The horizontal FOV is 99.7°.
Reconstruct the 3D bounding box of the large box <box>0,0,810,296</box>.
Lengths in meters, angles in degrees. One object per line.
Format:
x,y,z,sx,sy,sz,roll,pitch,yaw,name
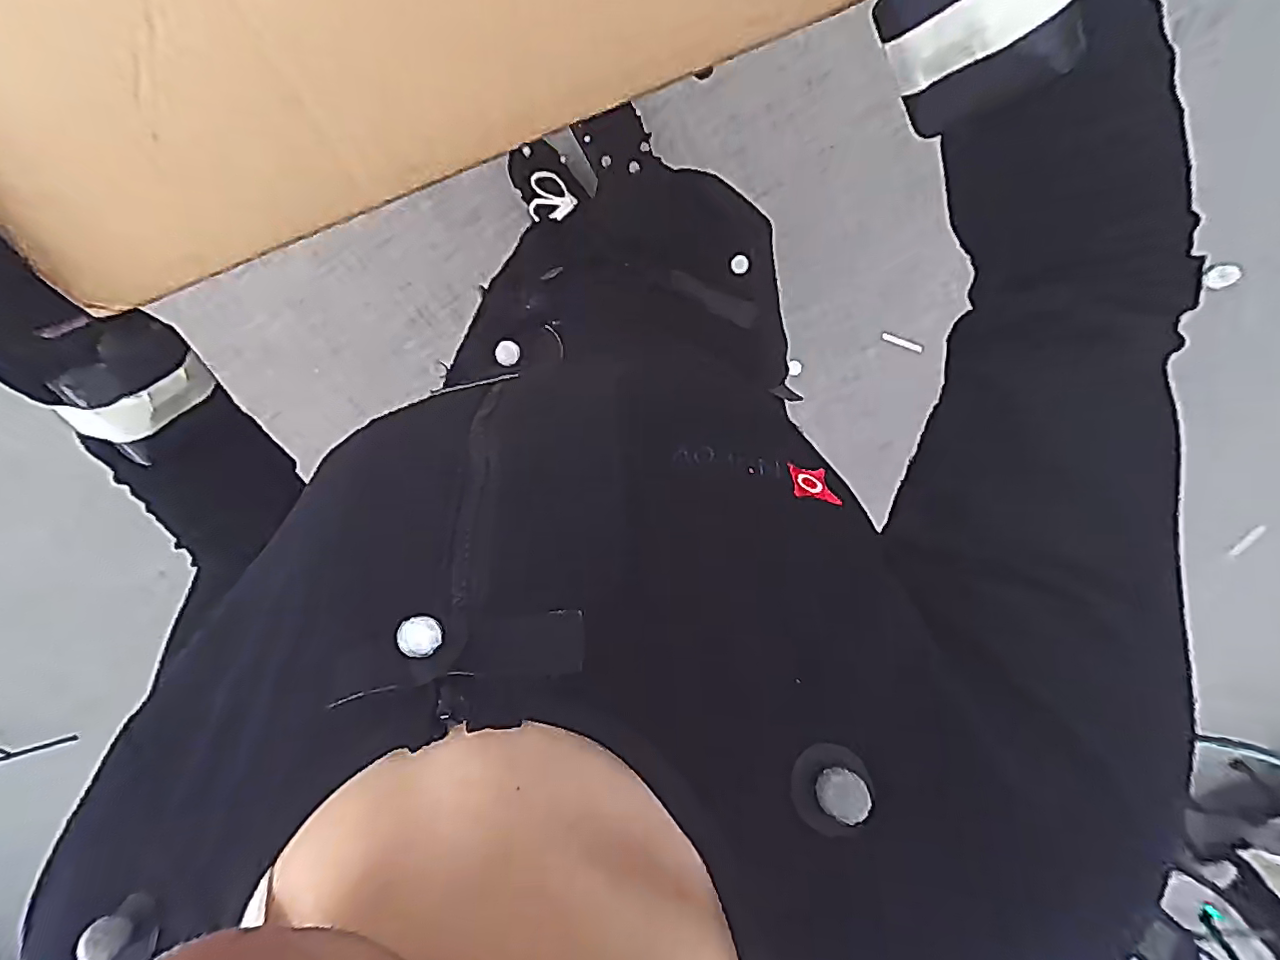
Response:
-0.154,-0.357,0.244,0.408,0.320,0.320,-16,136,9,large box
